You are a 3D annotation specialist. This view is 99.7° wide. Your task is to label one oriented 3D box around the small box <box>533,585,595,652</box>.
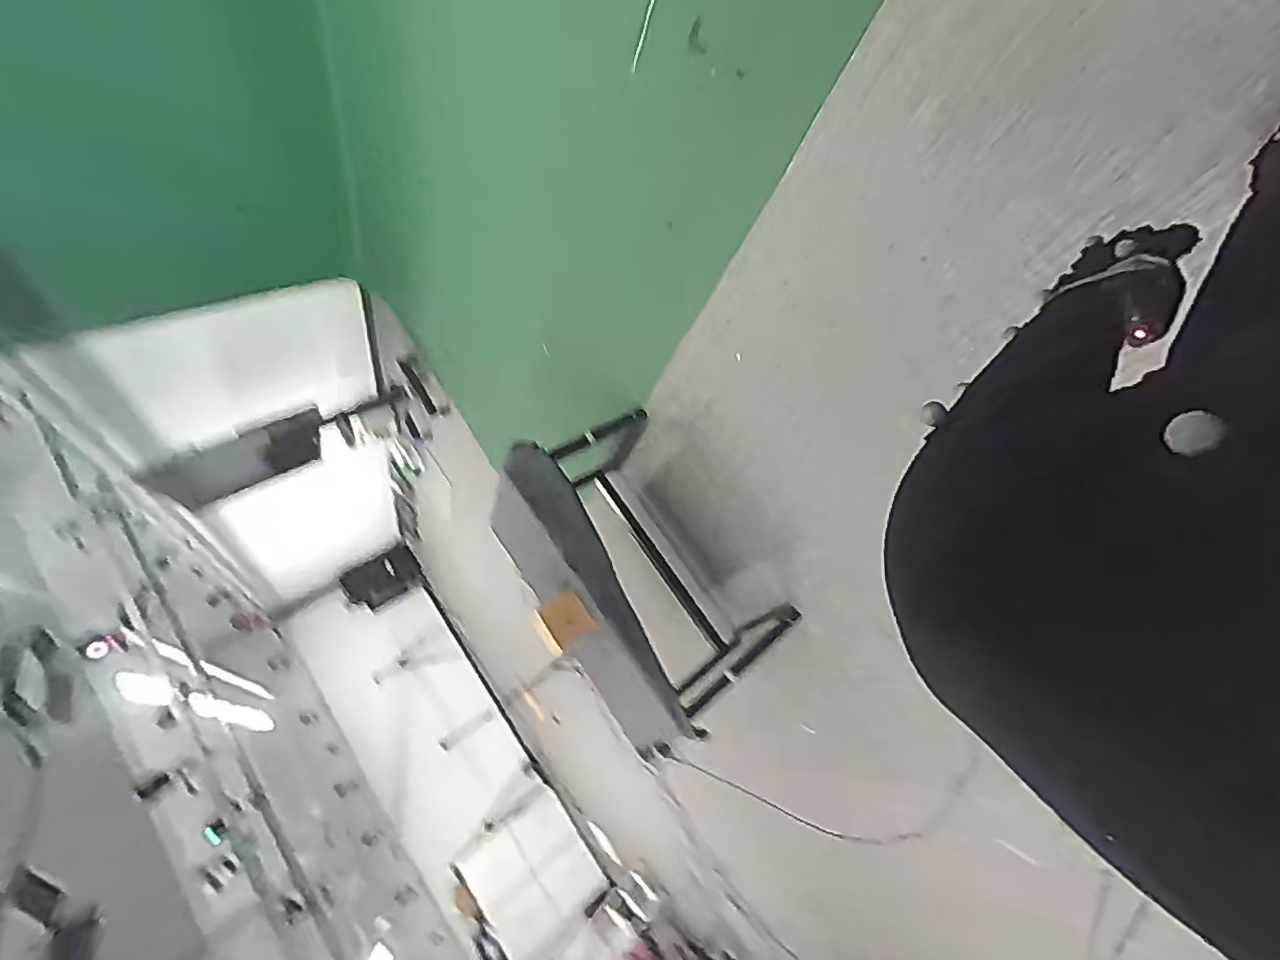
[{"bbox_3d":[-0.298,0.543,2.123,0.179,0.176,0.168,54,151,13],"label":"small box"}]
